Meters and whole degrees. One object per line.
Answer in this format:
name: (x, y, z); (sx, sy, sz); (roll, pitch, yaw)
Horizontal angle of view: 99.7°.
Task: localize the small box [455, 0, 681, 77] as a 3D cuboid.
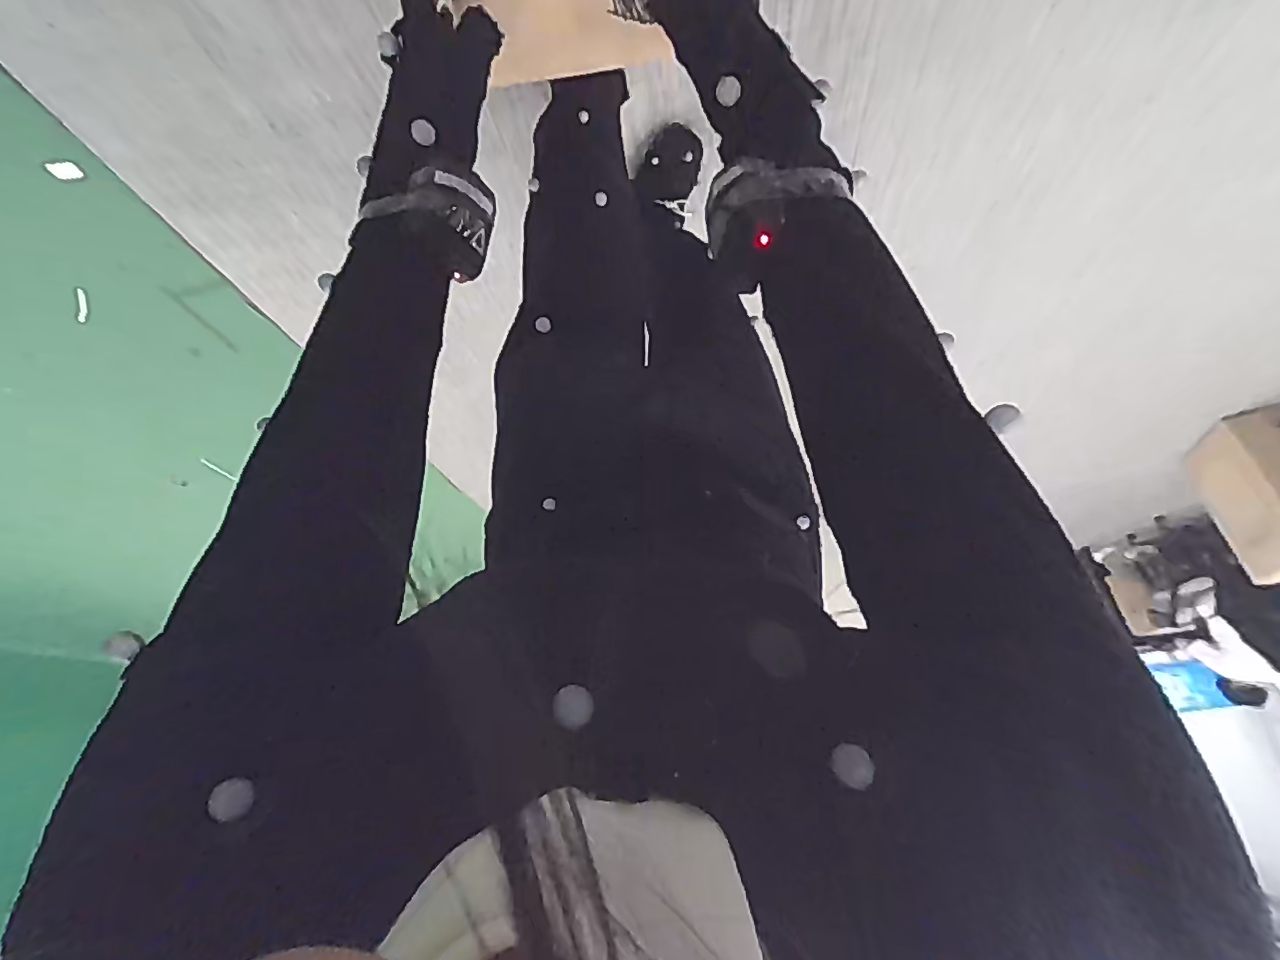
small box: (-0.063, -0.455, 0.420); (0.179, 0.176, 0.168); (-6, 152, 0)
